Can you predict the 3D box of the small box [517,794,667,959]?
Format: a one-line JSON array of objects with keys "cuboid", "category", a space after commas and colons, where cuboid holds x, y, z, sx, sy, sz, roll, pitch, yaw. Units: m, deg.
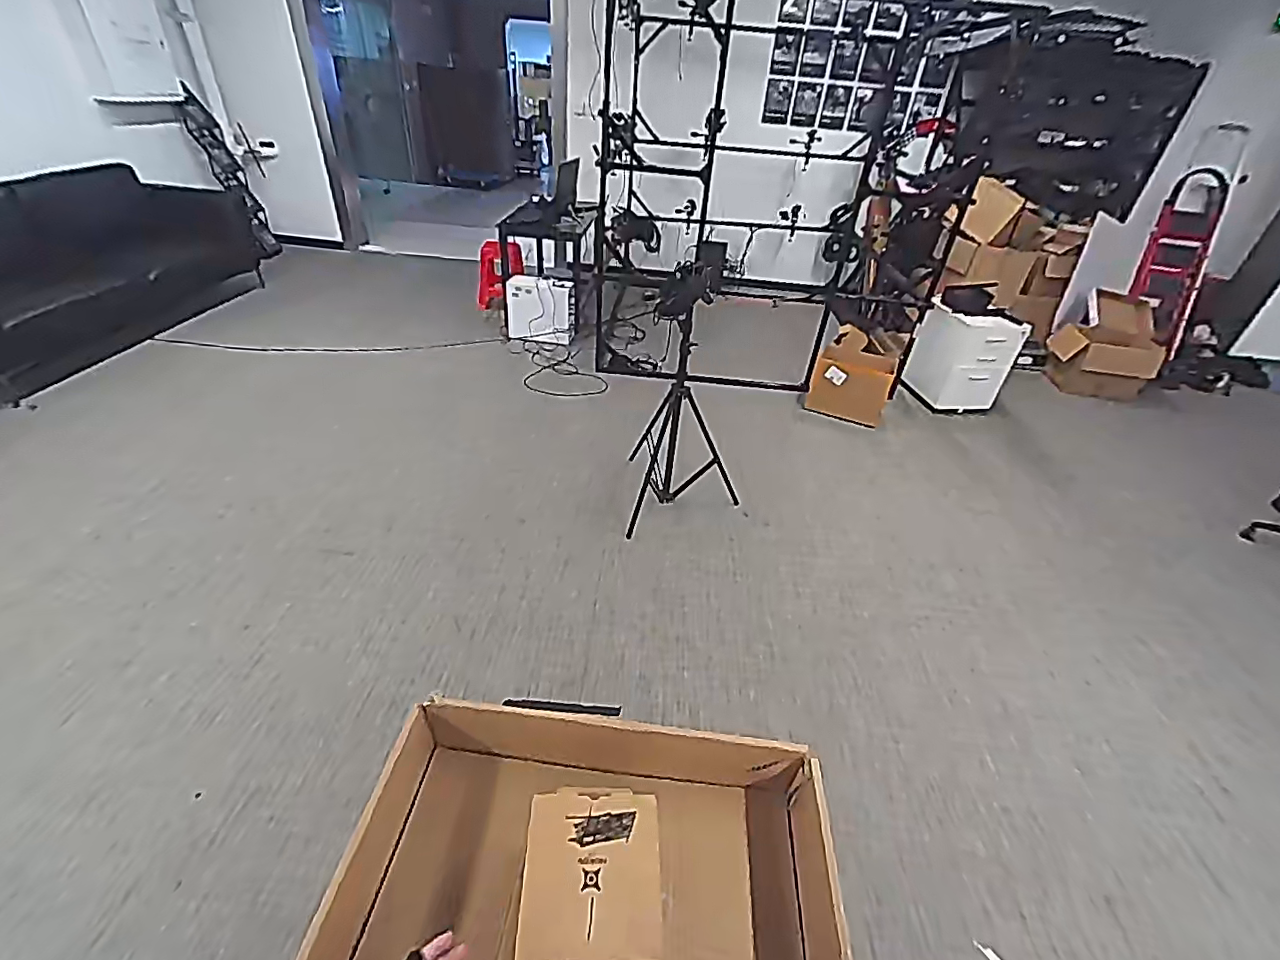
[{"cuboid": [-0.060, 0.533, 0.695, 0.168, 0.176, 0.179, 2, 37, -4], "category": "small box"}]
